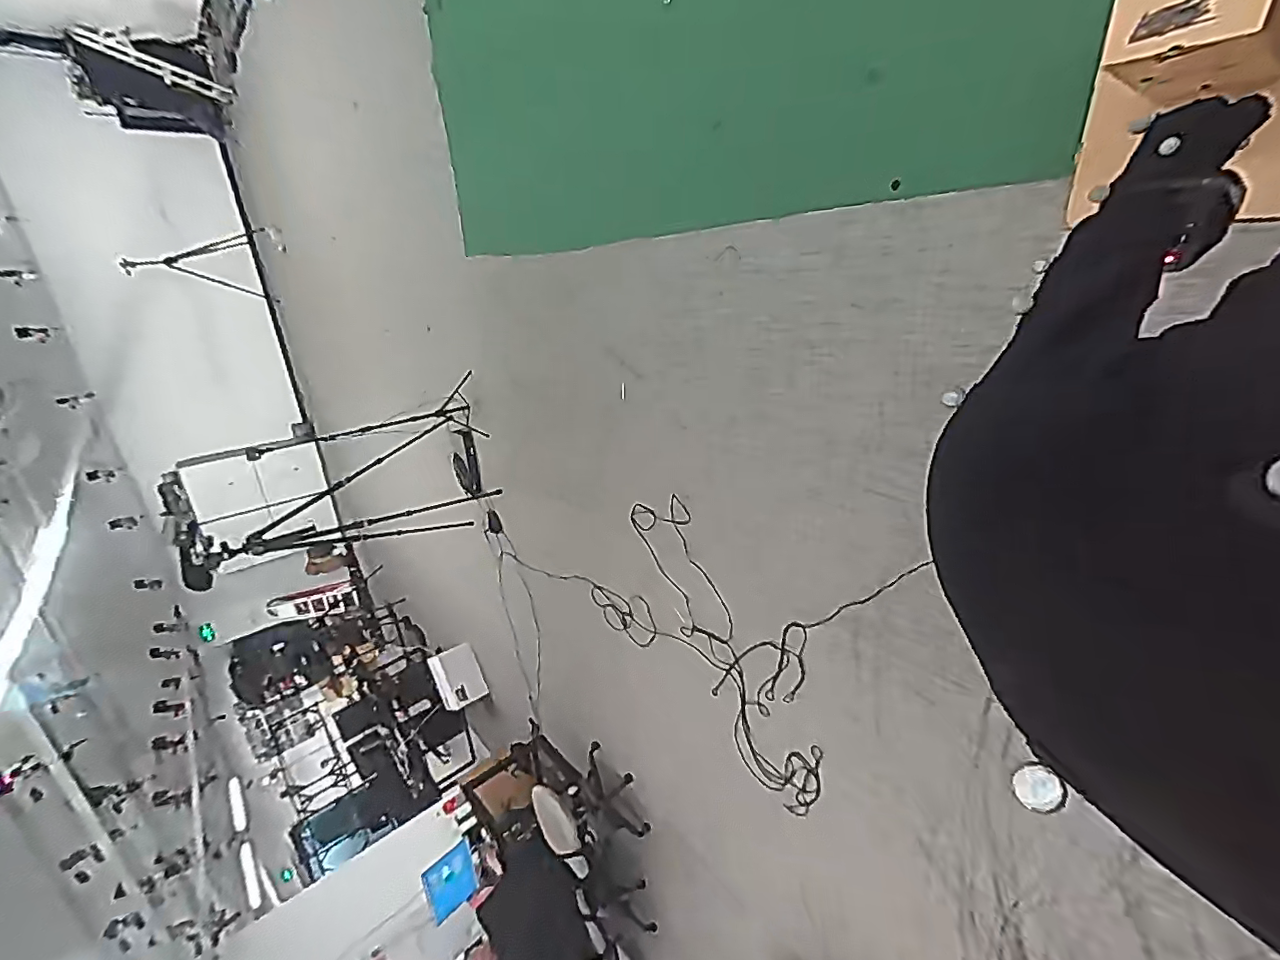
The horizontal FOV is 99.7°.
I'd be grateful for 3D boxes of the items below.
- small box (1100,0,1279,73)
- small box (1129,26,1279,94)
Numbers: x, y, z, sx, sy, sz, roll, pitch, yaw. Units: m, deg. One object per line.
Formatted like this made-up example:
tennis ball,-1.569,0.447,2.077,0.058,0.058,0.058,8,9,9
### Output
small box,0.787,-0.693,0.751,0.168,0.176,0.179,23,123,45
small box,0.913,-0.737,0.847,0.168,0.176,0.179,22,123,47
